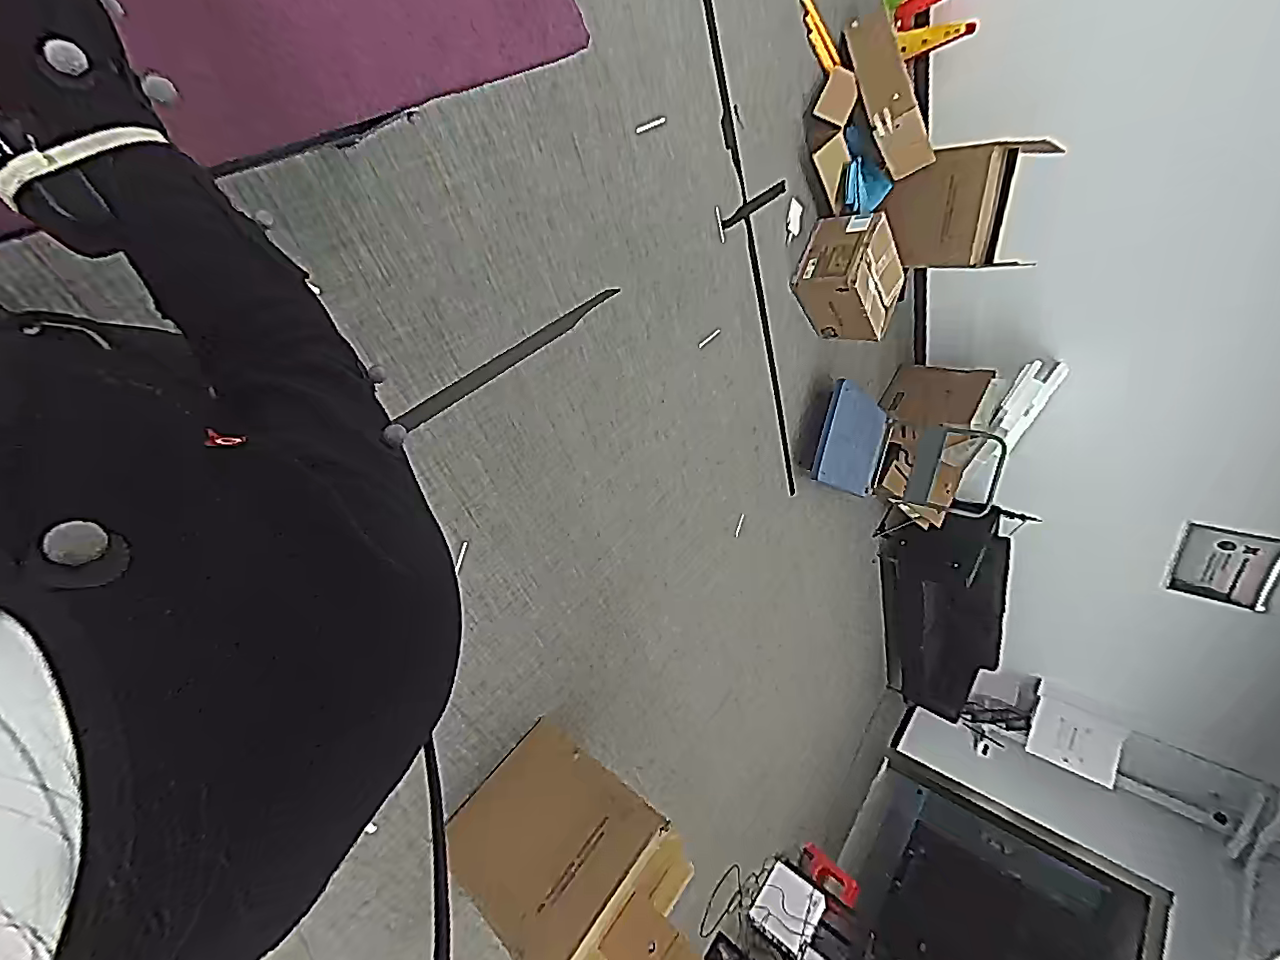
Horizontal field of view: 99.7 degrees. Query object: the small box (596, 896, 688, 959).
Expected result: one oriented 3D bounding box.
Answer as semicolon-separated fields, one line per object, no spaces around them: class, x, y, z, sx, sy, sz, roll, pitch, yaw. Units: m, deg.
small box;0.005;1.335;1.527;0.179;0.176;0.168;-42;130;-31
